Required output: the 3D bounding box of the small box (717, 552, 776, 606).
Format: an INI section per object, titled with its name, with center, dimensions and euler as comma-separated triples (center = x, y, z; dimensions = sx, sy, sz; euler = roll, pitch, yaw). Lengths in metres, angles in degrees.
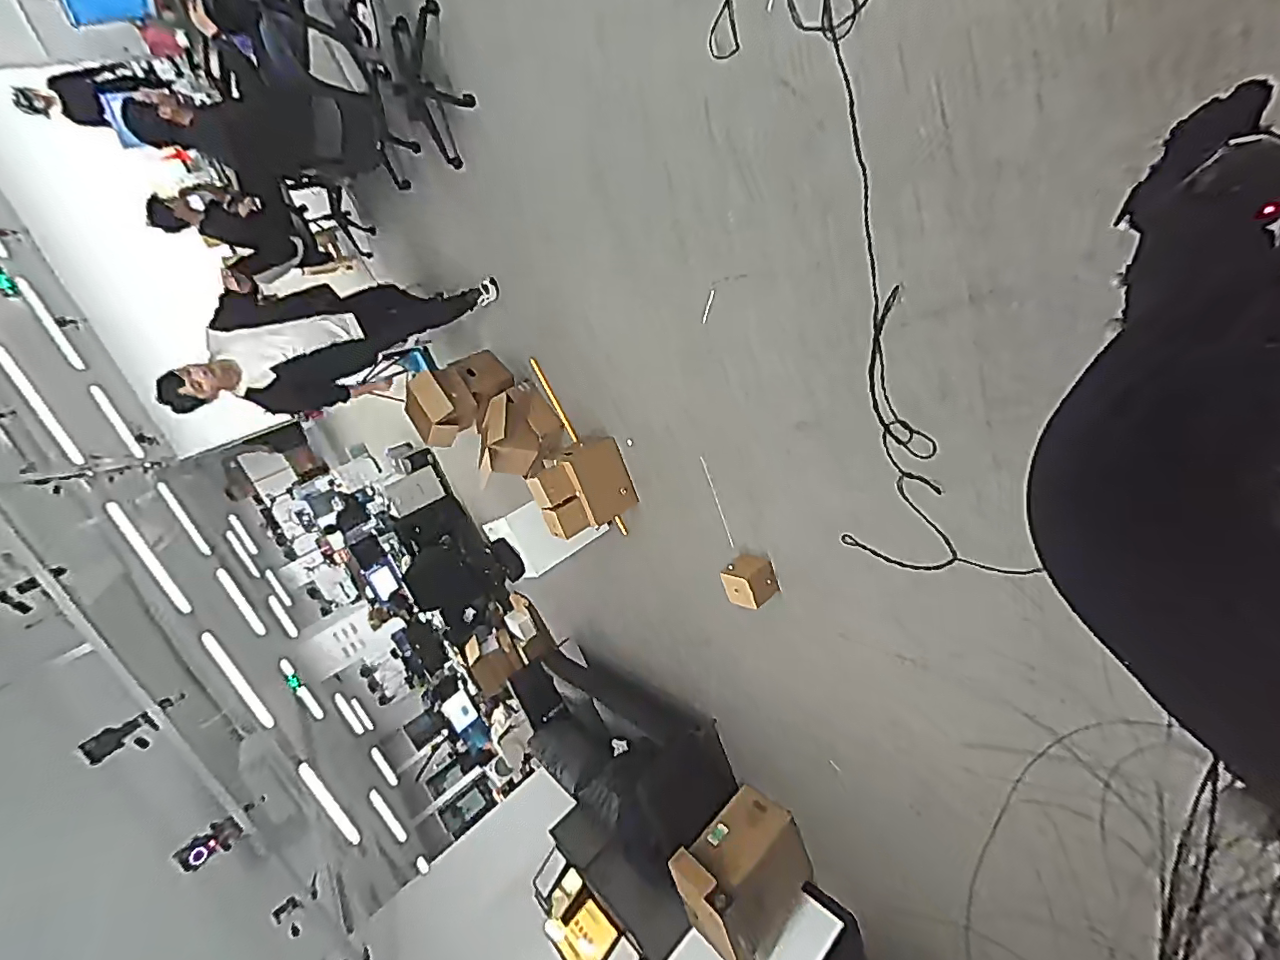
[small box]
center = 0.491, 0.446, 2.478
dimensions = 0.179, 0.176, 0.168
euler = 3, 120, 54
